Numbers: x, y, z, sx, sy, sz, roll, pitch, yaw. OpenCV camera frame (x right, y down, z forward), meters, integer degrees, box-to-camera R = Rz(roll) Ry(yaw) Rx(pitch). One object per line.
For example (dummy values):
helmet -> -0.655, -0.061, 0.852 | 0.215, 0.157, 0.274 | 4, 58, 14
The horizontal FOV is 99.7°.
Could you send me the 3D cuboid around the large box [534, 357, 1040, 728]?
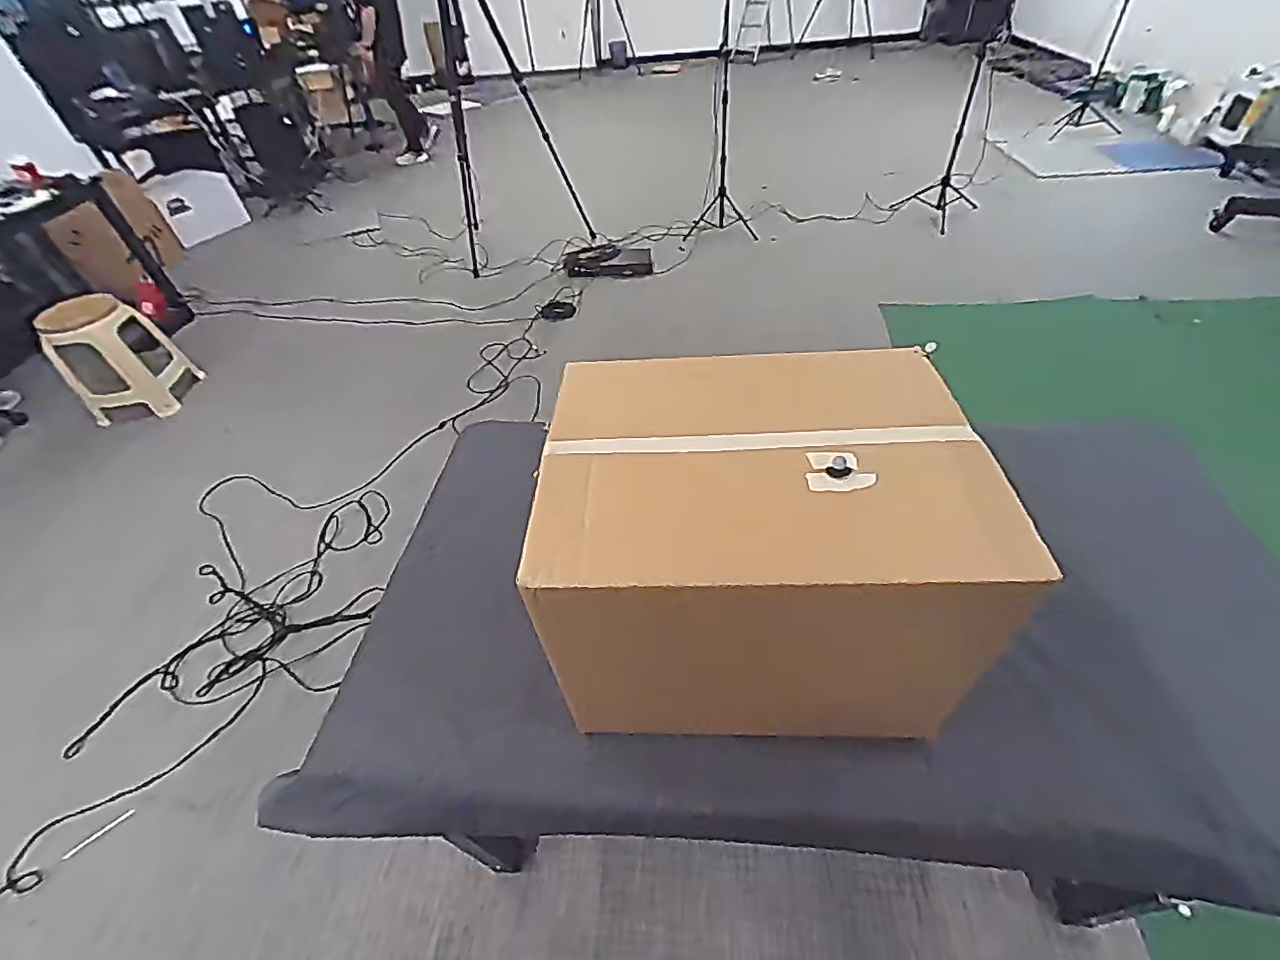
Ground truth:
large box -> 0.120, 0.075, 0.631 | 0.408, 0.320, 0.320 | -1, 46, 3
